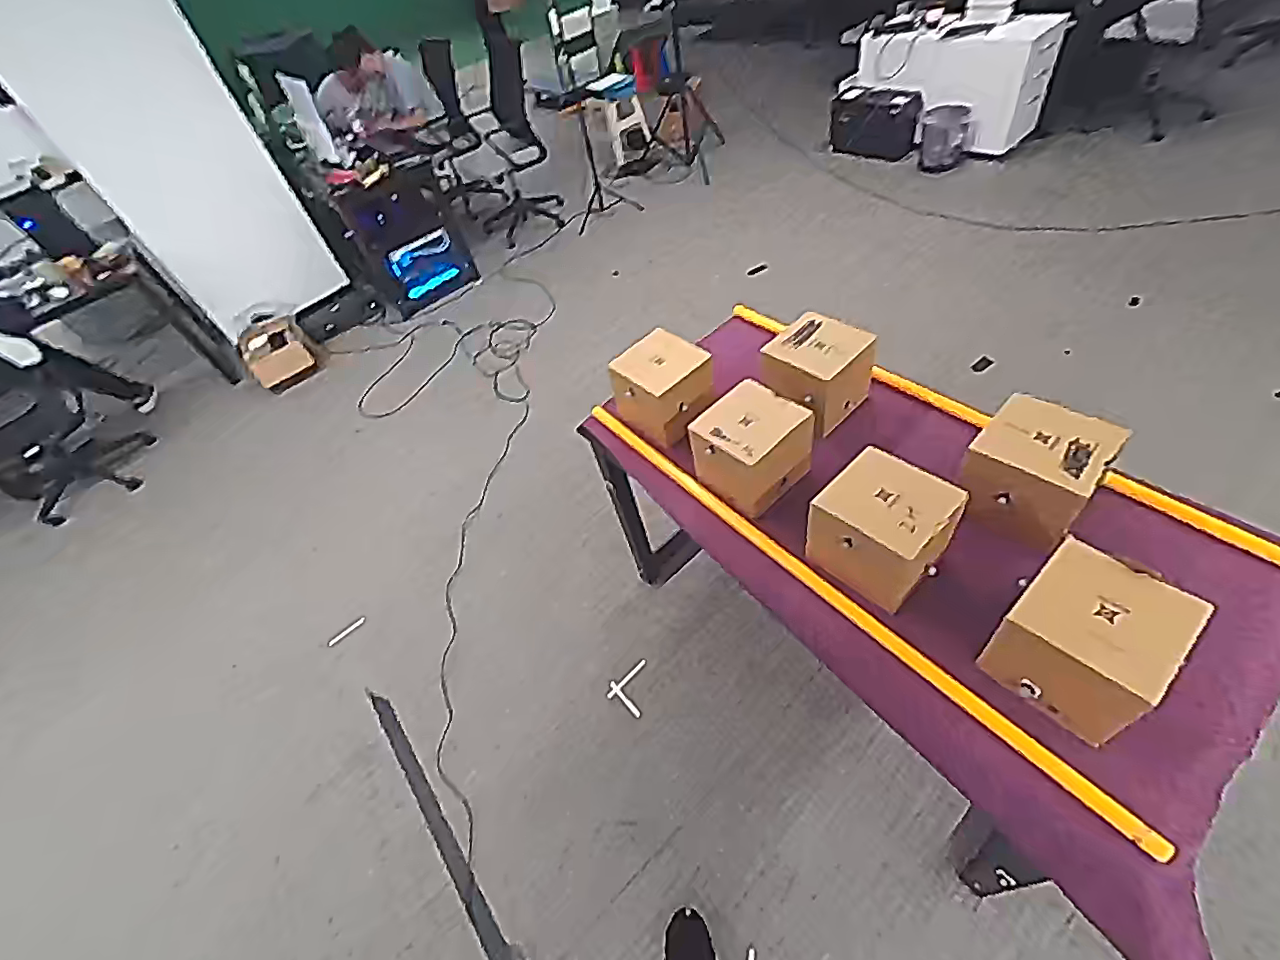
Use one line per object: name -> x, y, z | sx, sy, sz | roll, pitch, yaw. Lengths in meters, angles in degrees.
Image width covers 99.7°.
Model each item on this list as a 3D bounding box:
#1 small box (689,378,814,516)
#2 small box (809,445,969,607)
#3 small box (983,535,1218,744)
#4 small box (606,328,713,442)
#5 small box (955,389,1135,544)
small box -> 0.221, -0.065, 1.074 | 0.179, 0.176, 0.168 | -38, 50, -18
small box -> 0.402, 0.078, 0.904 | 0.168, 0.176, 0.179 | -39, 51, -19
small box -> 0.605, 0.215, 0.734 | 0.179, 0.176, 0.168 | -38, 50, -20
small box -> 0.051, -0.213, 1.242 | 0.168, 0.176, 0.179 | -39, 52, -18
small box -> 0.667, -0.017, 0.916 | 0.168, 0.176, 0.179 | -41, 52, -19
